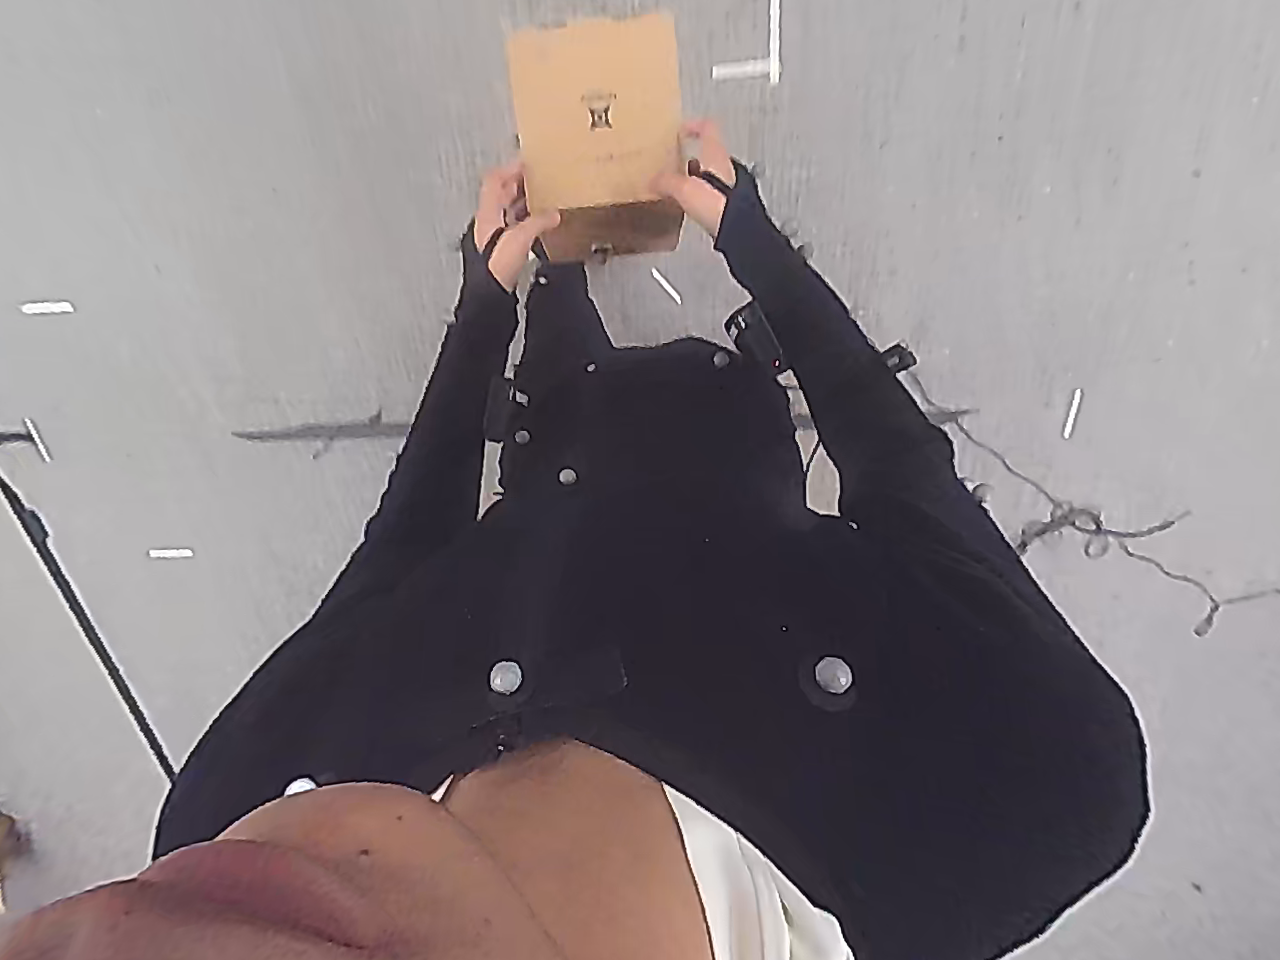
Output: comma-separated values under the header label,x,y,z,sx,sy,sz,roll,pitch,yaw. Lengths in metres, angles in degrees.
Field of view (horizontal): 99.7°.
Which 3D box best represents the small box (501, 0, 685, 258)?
label,x,y,z,sx,sy,sz,roll,pitch,yaw
small box,-0.046,-0.368,0.598,0.168,0.176,0.179,-6,95,0
